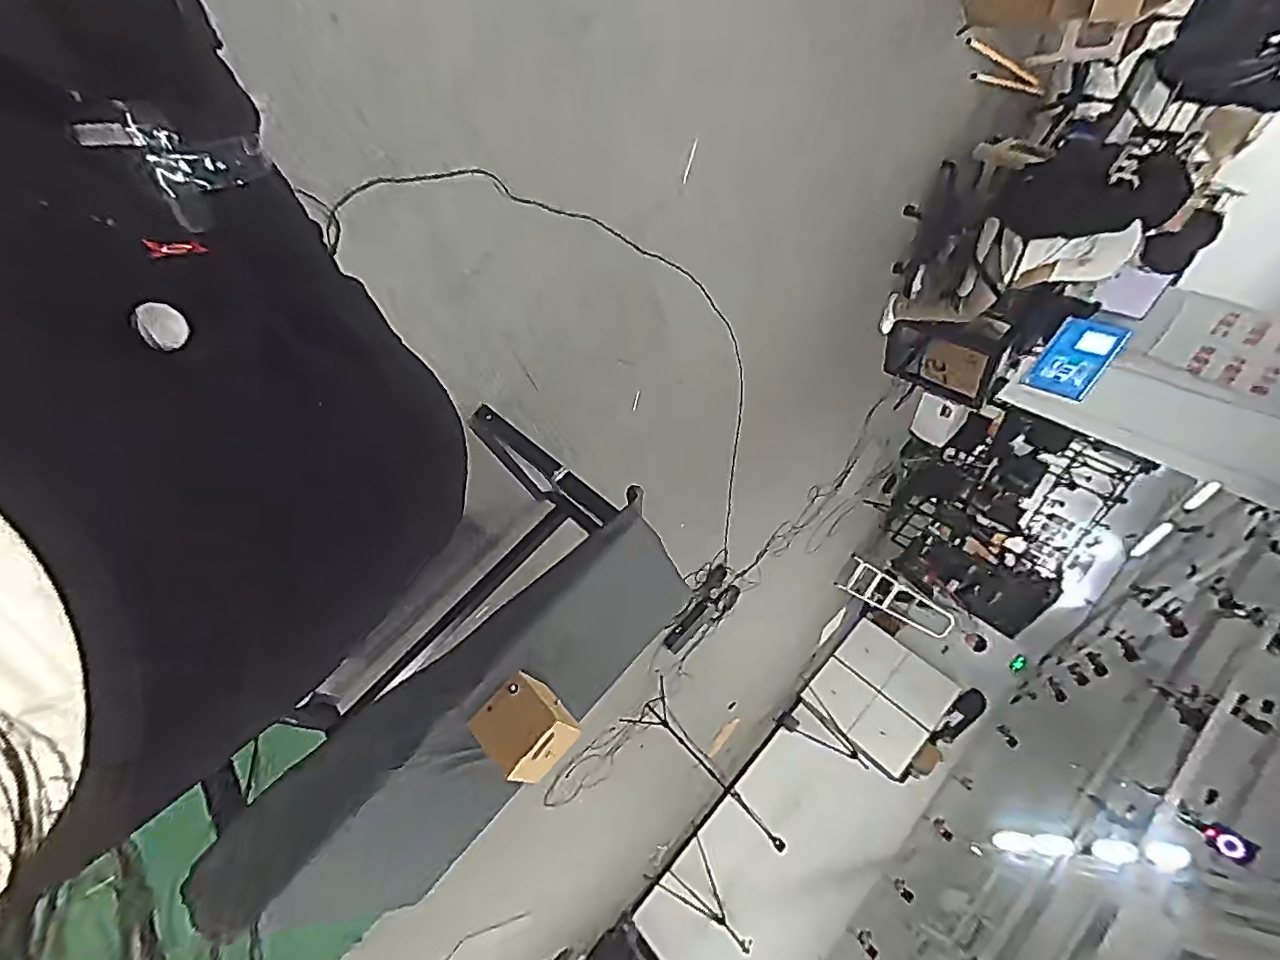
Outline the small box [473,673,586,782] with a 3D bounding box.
[{"bbox_3d":[-0.268,0.595,1.308,0.168,0.176,0.179,-48,145,-10],"label":"small box"}]
